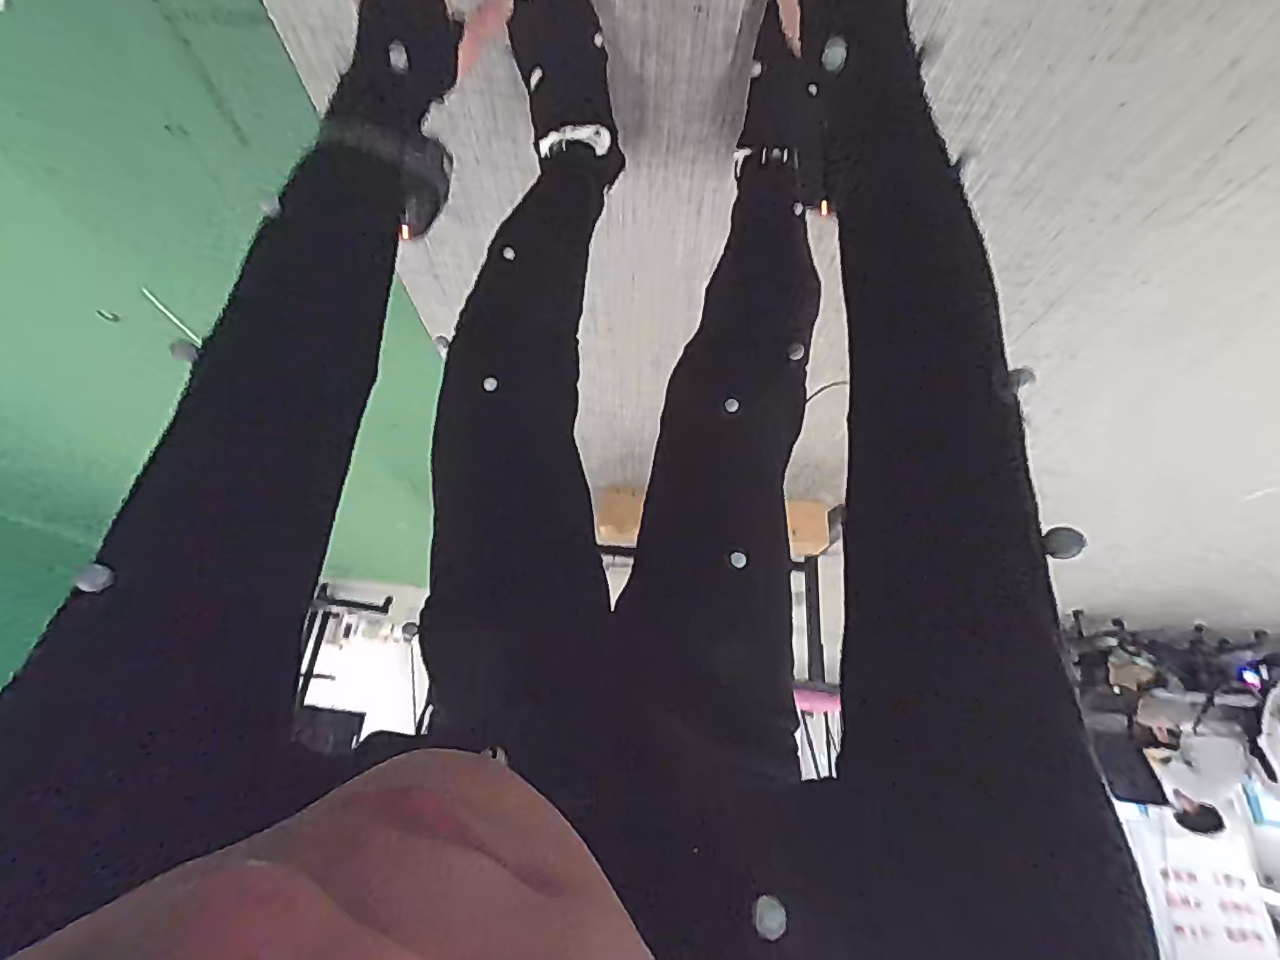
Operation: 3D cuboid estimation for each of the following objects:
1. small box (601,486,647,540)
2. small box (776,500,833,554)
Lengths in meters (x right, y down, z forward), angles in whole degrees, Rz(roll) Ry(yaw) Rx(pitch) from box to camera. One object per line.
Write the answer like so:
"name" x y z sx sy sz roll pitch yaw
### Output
"small box" -0.061 0.131 2.159 0.168 0.176 0.179 4 158 4
"small box" 0.645 0.186 2.138 0.179 0.176 0.168 5 157 2
